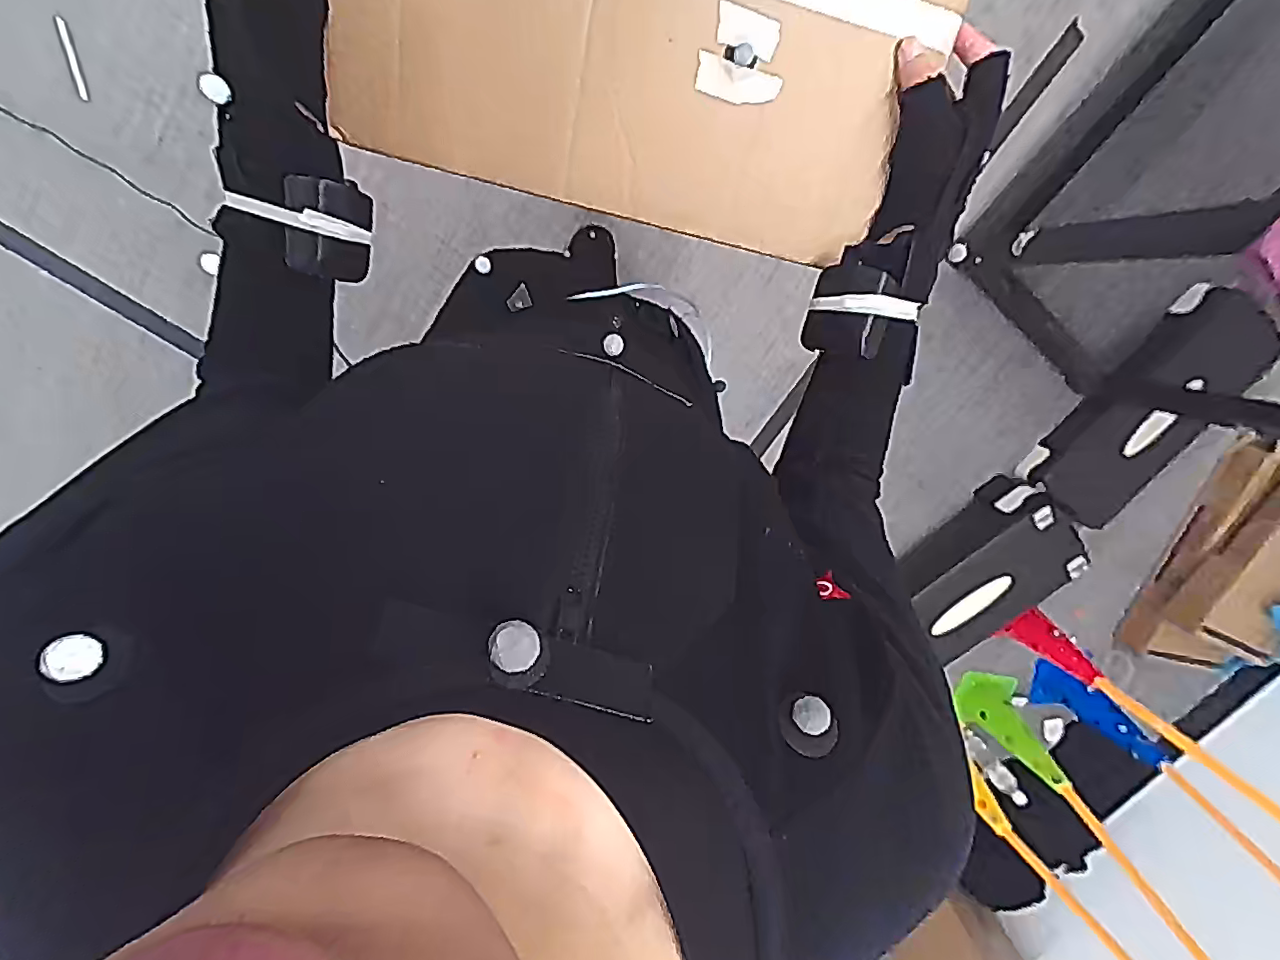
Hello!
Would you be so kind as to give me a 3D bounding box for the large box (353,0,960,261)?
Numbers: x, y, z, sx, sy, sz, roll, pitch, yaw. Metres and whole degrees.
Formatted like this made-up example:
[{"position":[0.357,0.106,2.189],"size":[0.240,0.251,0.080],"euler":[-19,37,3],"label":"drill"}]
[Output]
[{"position":[0.012,-0.420,0.478],"size":[0.408,0.320,0.320],"euler":[11,120,-9],"label":"large box"}]
